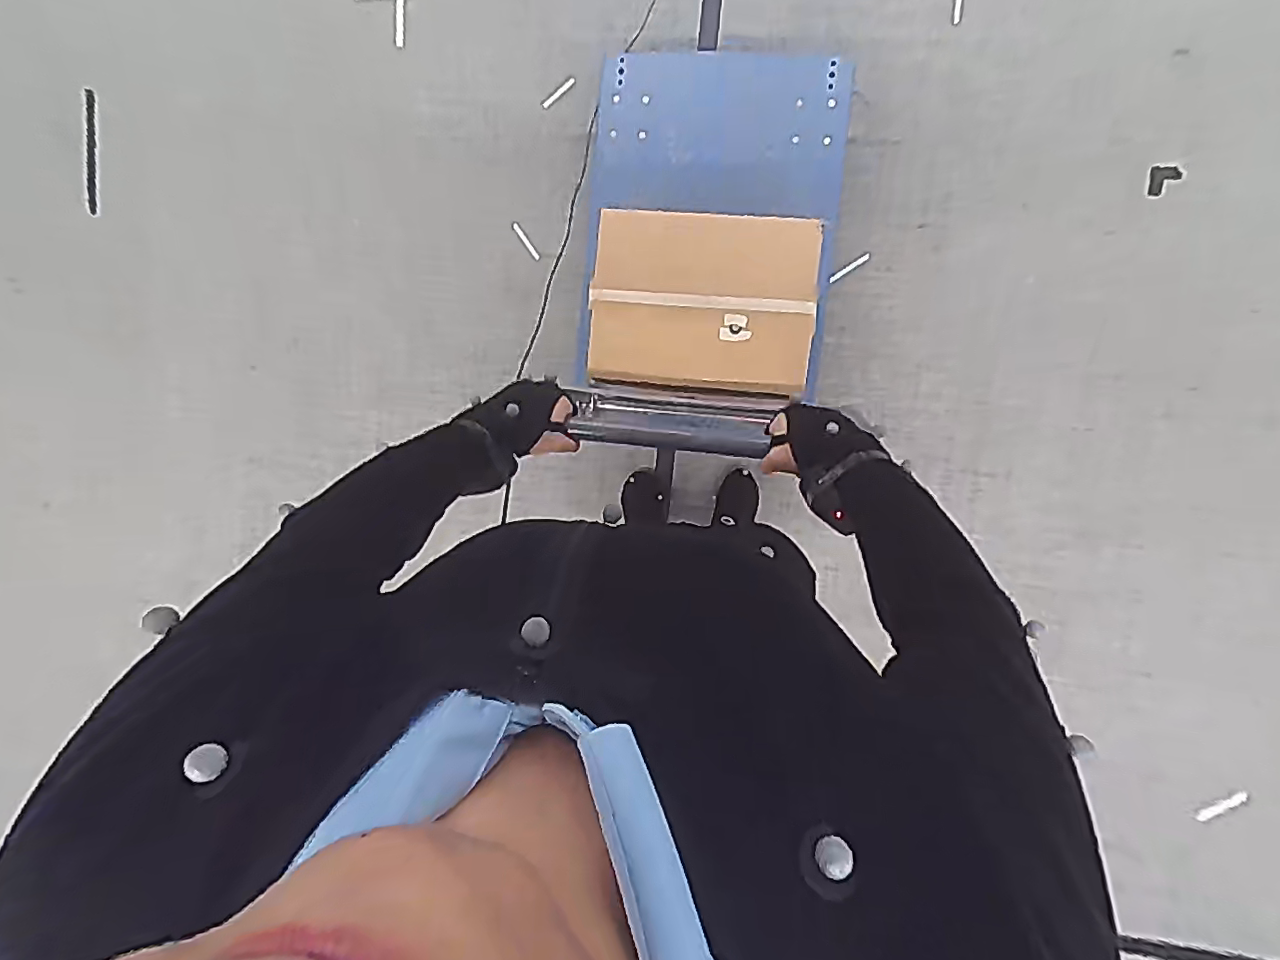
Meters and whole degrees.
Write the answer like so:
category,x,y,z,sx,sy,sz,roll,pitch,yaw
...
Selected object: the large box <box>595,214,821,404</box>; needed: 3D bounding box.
category,x,y,z,sx,sy,sz,roll,pitch,yaw
large box,0.133,-0.339,1.151,0.408,0.320,0.320,5,95,6
